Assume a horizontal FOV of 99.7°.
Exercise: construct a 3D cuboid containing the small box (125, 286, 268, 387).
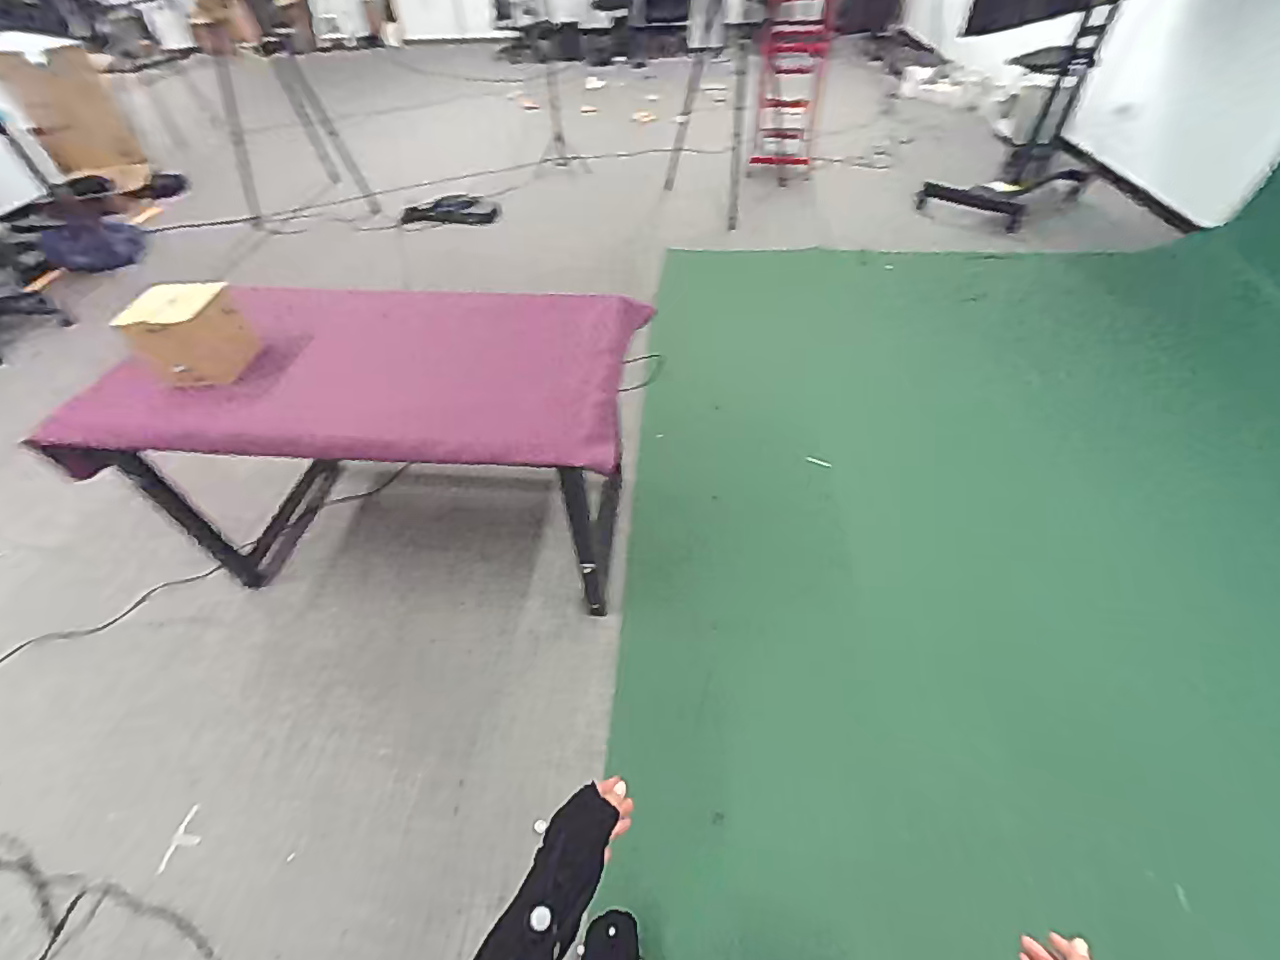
[{"bbox_3d":[-1.028,-0.338,1.277,0.168,0.176,0.179,-3,47,2],"label":"small box"}]
